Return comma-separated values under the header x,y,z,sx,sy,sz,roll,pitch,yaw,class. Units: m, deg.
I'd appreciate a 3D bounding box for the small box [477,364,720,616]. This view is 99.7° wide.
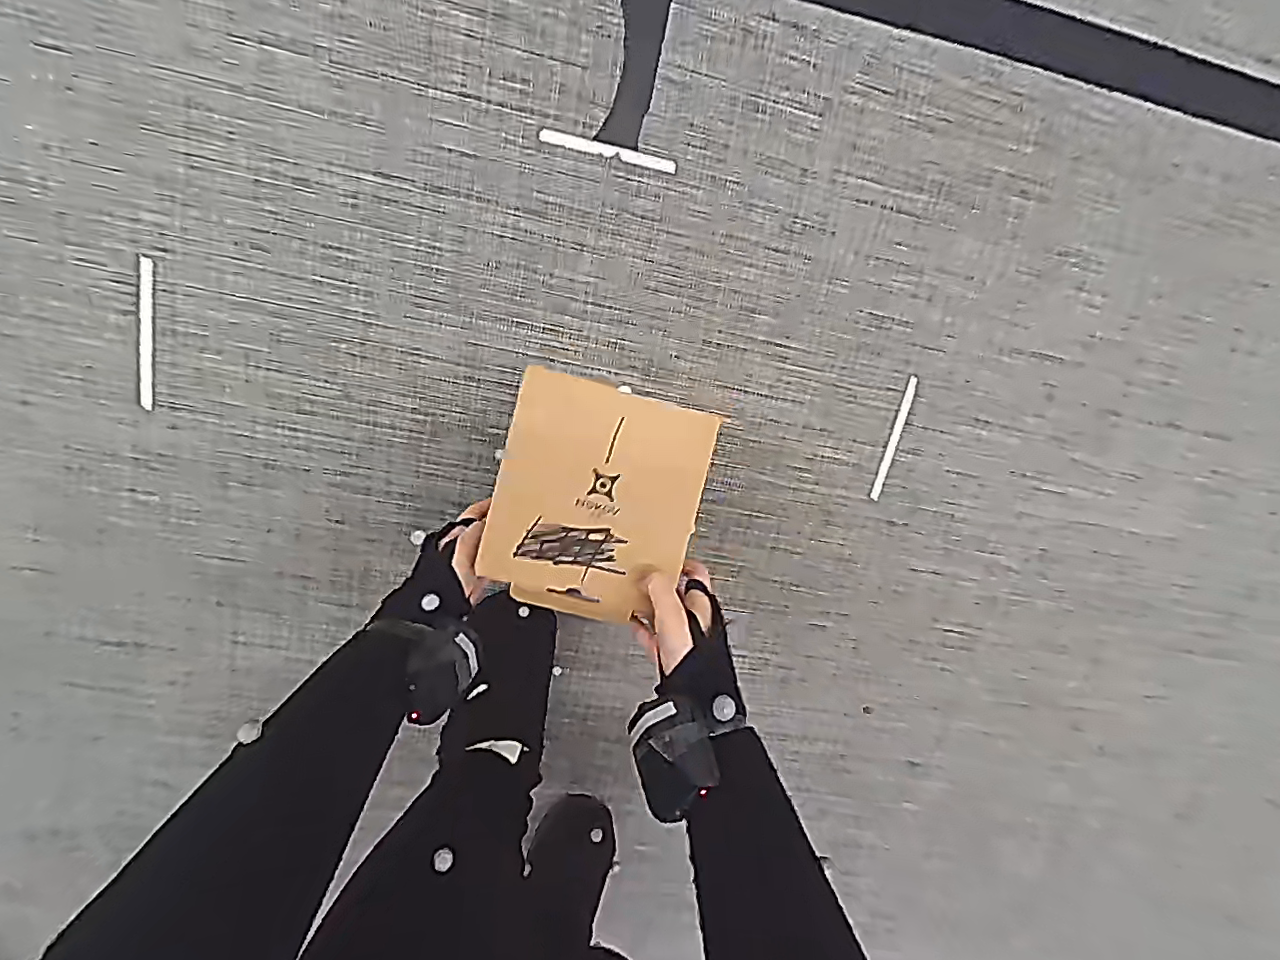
x,y,z,sx,sy,sz,roll,pitch,yaw,class
-0.039,0.004,0.516,0.168,0.176,0.179,14,94,-7,small box
